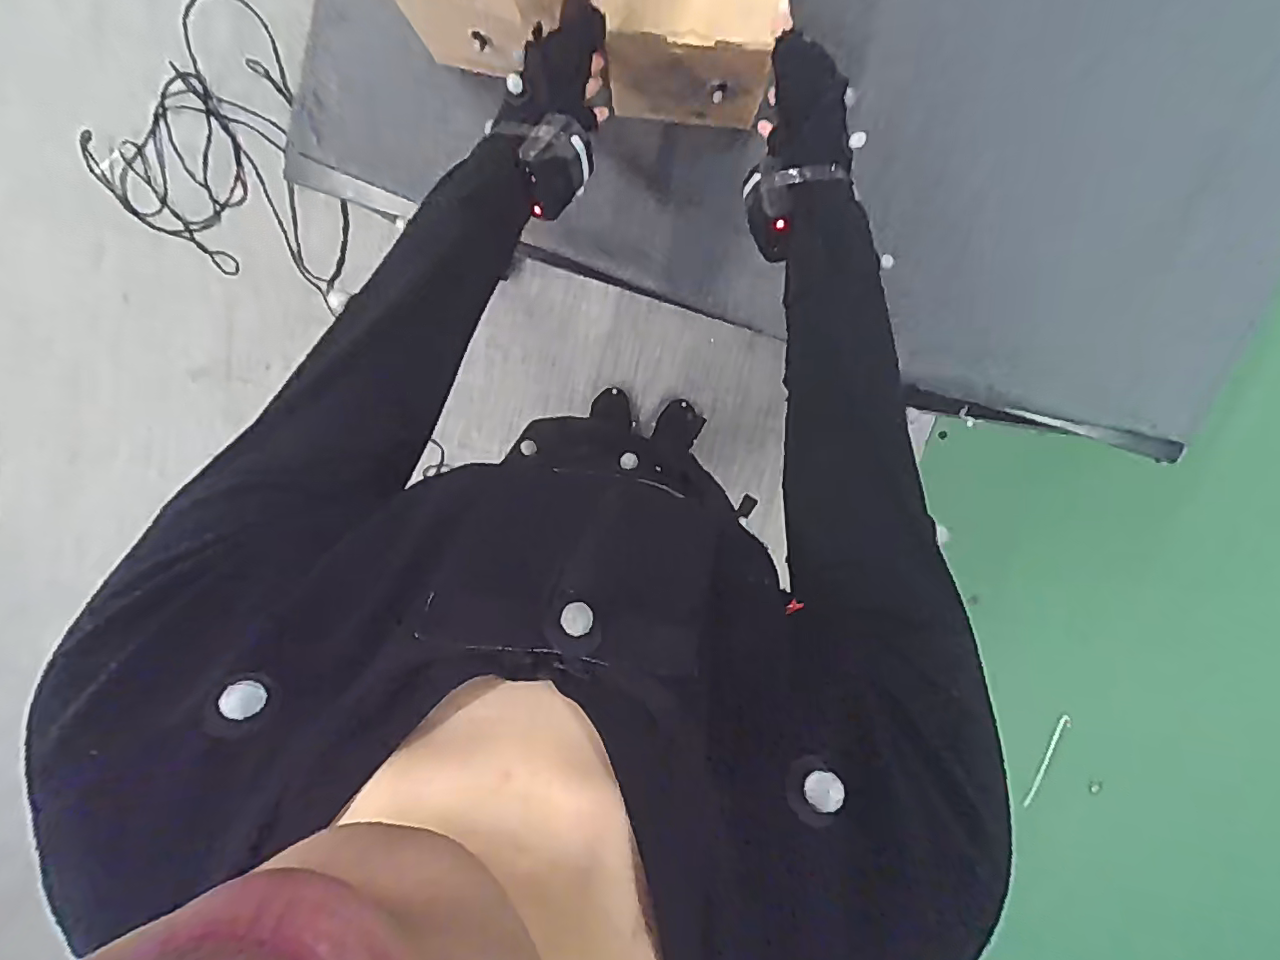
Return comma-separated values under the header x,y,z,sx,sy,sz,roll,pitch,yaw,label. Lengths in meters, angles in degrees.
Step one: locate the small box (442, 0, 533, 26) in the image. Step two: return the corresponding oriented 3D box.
x,y,z,sx,sy,sz,roll,pitch,yaw,label
-0.153,-0.498,0.392,0.168,0.176,0.179,19,101,-3,small box
